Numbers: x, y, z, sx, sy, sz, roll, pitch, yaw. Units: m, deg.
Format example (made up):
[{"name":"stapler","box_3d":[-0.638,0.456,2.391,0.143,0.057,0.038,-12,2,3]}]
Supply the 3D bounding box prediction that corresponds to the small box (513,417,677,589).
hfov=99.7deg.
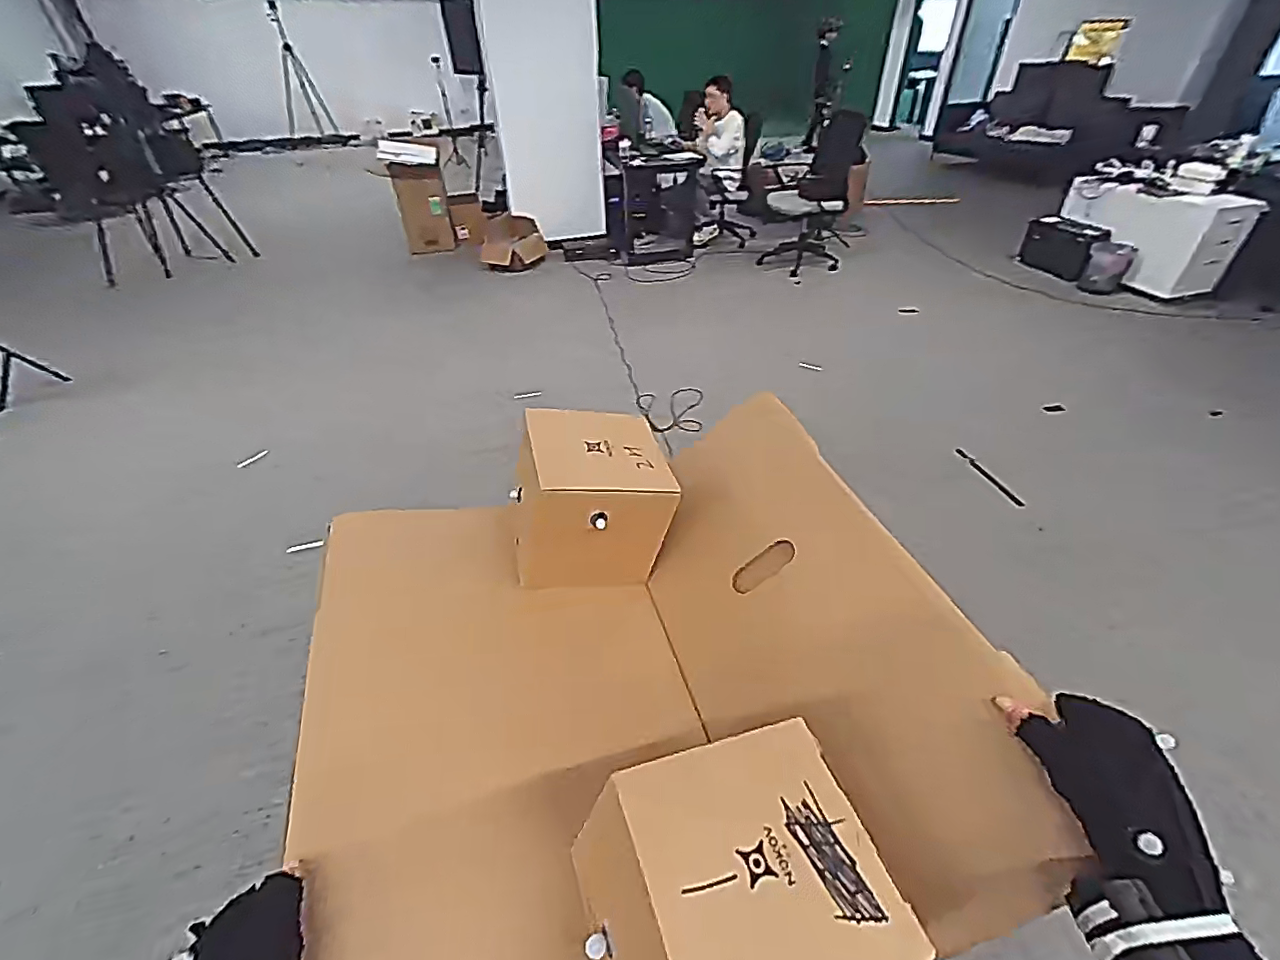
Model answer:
[{"name":"small box","box_3d":[-0.074,0.034,0.730,0.179,0.176,0.168,2,39,-21]}]
